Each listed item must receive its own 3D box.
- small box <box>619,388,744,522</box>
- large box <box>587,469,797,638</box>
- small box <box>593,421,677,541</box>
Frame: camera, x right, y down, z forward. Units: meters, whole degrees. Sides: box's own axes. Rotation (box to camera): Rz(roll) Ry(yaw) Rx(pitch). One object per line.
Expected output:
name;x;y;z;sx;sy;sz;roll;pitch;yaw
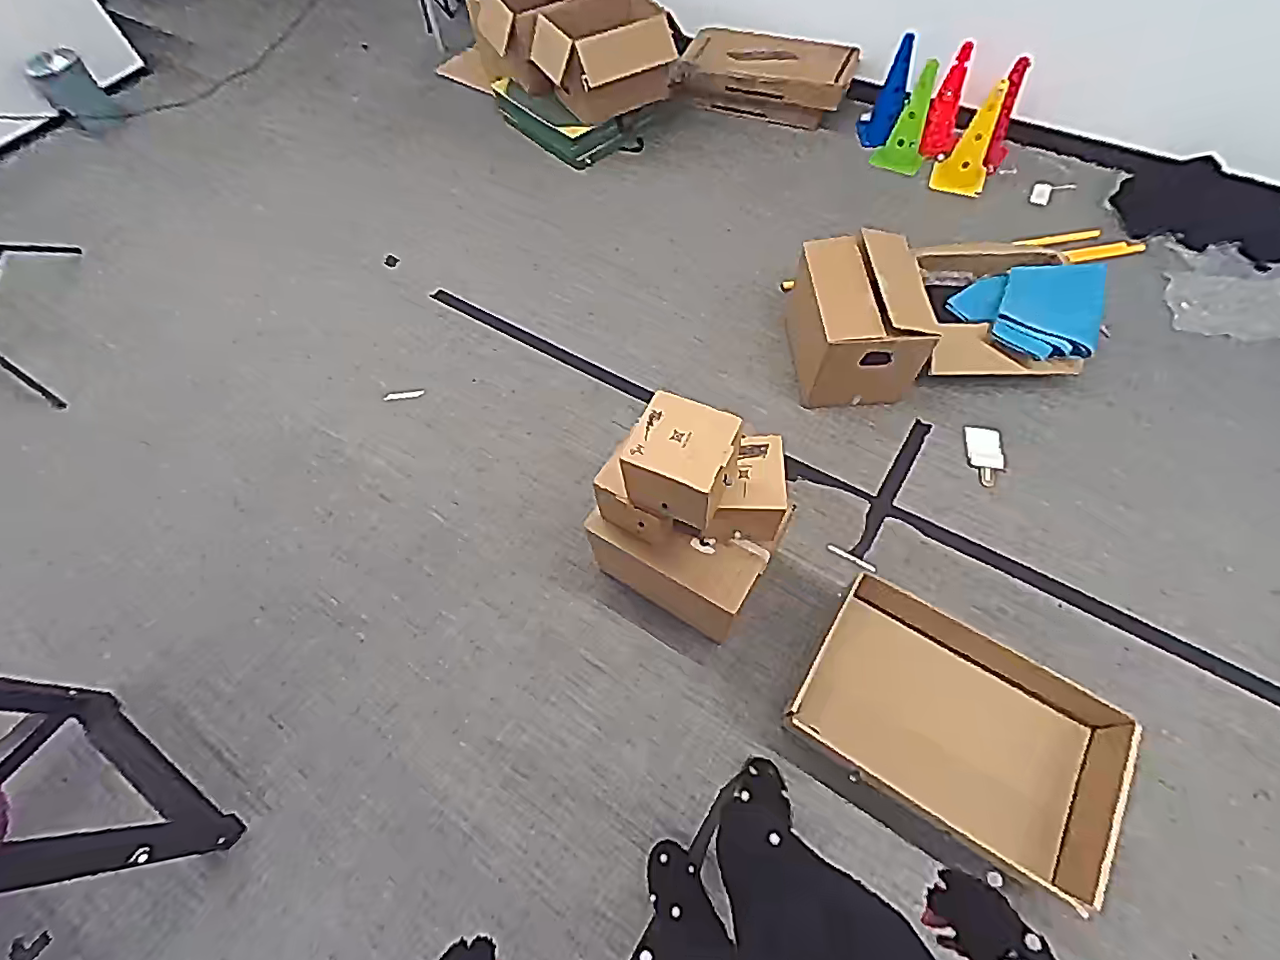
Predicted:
small box;0.080;-0.039;1.028;0.179;0.176;0.168;23;67;15
large box;0.125;0.146;1.388;0.408;0.320;0.320;28;68;16
small box;0.017;0.009;1.193;0.168;0.176;0.179;28;66;15
